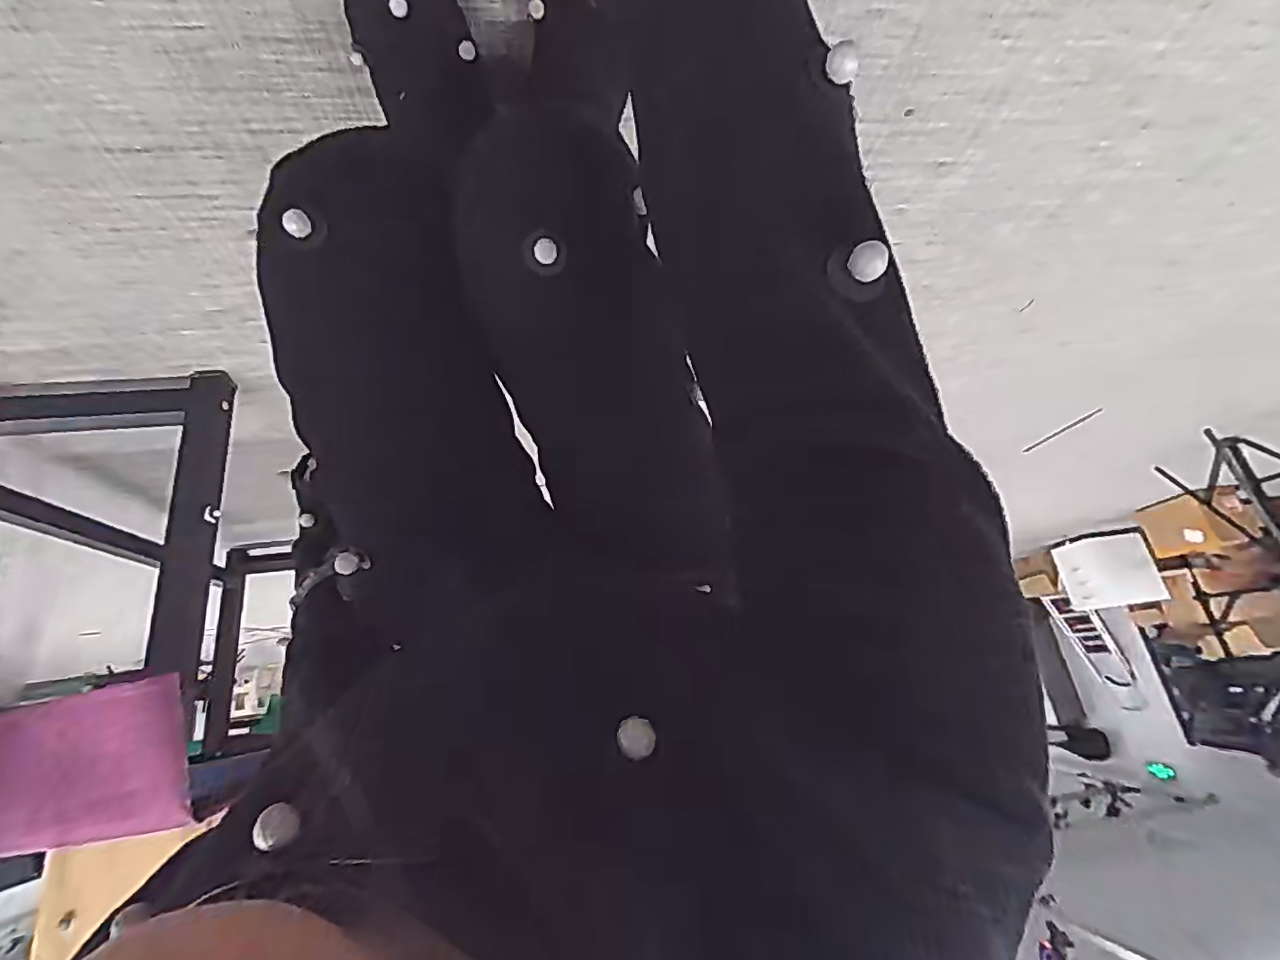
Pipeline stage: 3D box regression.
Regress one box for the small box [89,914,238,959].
[{"bbox_3d":[-0.722,0.772,0.786,0.168,0.176,0.179,-4,160,-11],"label":"small box"}]
